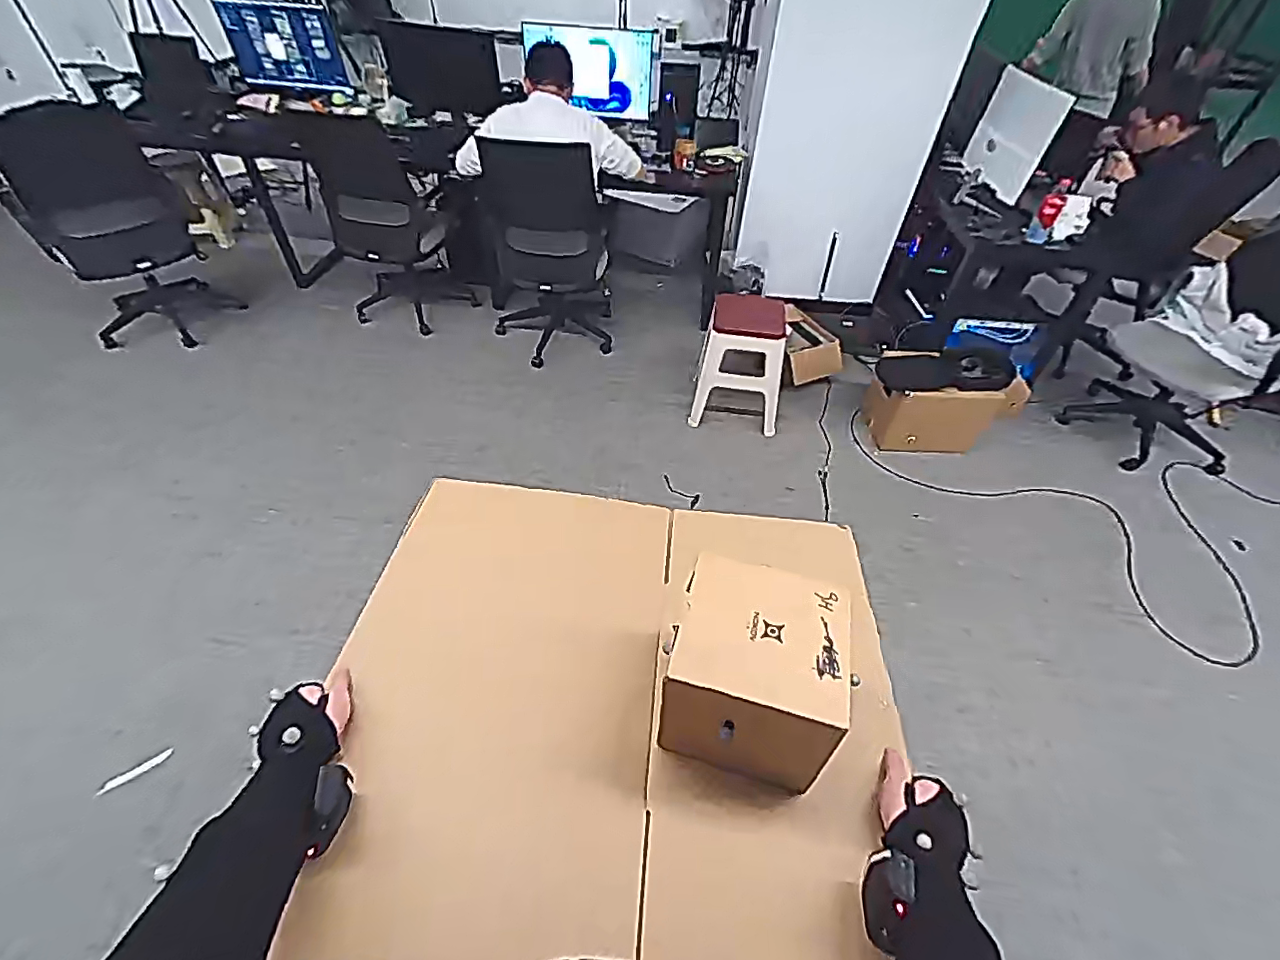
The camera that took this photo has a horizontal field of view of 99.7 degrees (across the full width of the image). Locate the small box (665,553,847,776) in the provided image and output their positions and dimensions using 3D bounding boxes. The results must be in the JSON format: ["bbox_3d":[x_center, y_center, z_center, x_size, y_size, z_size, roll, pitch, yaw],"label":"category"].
[{"bbox_3d":[0.129,0.213,0.625,0.179,0.176,0.168,11,44,12],"label":"small box"}]
